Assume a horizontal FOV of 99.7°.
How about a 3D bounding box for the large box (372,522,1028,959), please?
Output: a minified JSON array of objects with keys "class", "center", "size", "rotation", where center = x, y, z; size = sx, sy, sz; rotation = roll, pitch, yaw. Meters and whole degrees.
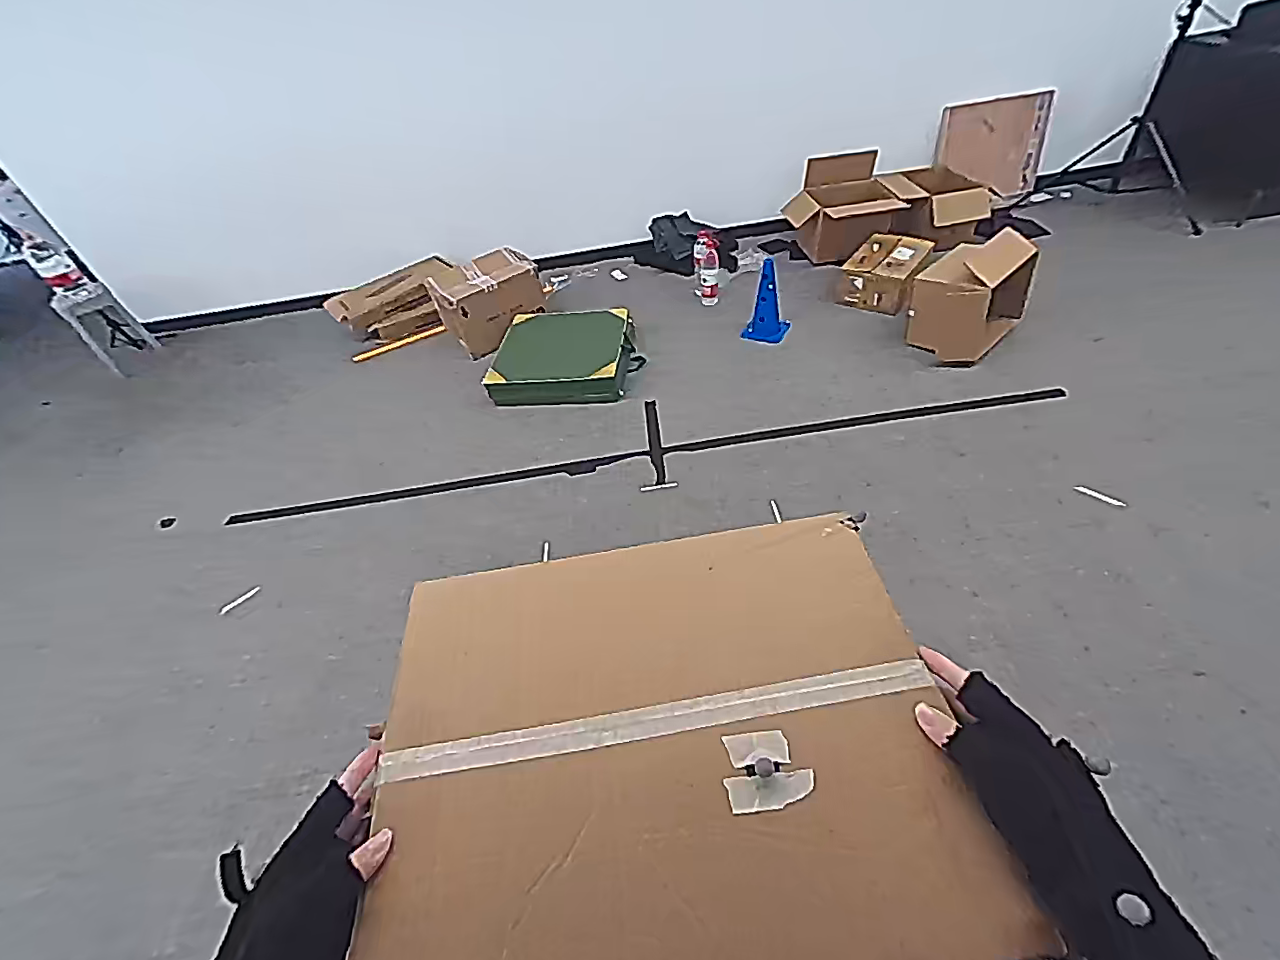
[{"class":"large box","center":[0.027,0.283,0.519],"size":[0.408,0.320,0.320],"rotation":[-9,48,-2]}]
